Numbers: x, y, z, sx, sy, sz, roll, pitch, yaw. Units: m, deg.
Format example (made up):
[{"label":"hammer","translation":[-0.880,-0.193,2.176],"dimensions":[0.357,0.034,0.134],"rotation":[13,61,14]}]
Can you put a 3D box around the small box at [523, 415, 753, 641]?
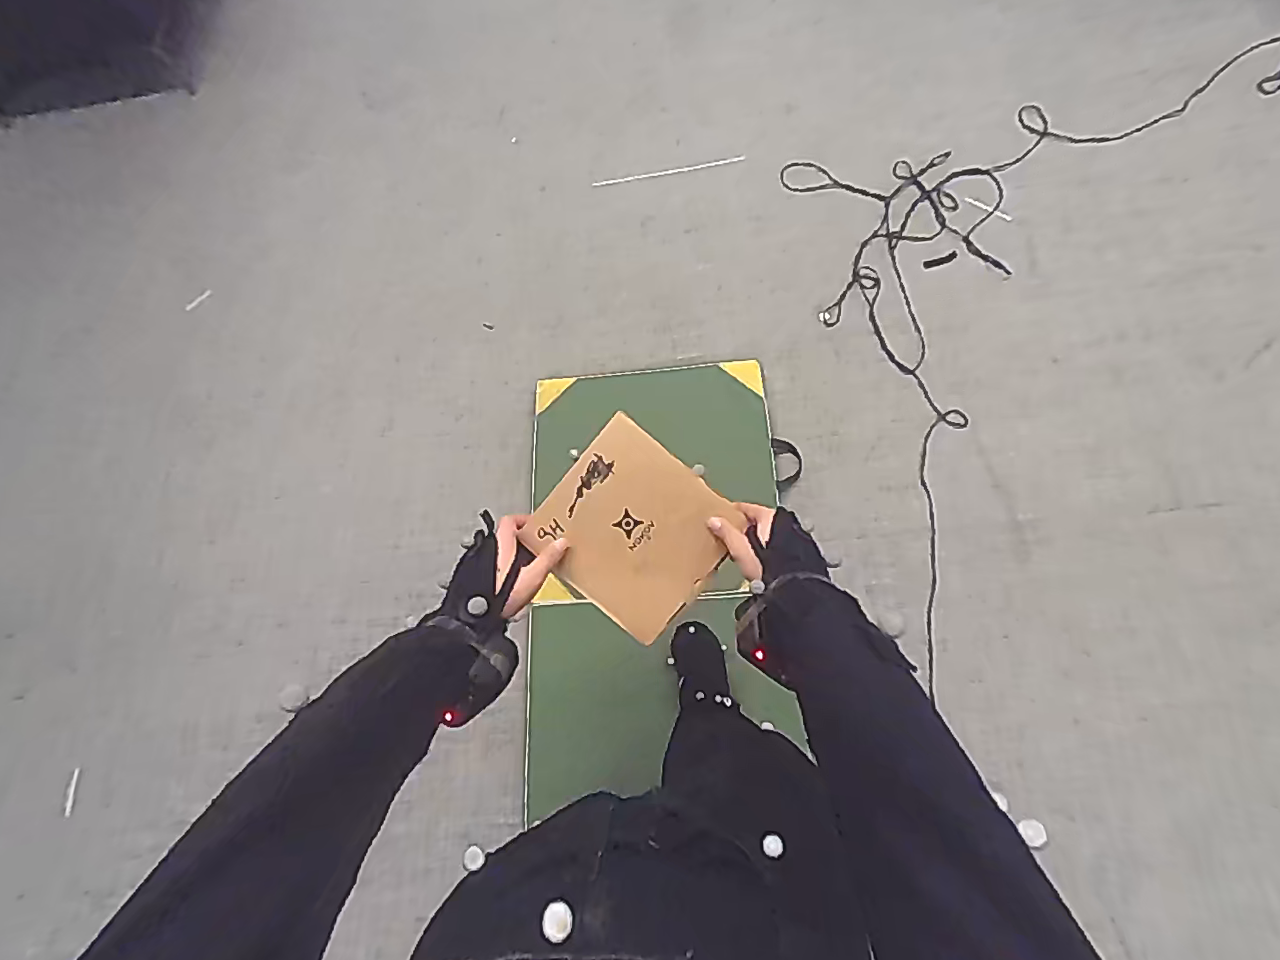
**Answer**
[{"label":"small box","translation":[0.000,0.046,0.621],"dimensions":[0.179,0.176,0.168],"rotation":[40,91,1]}]
